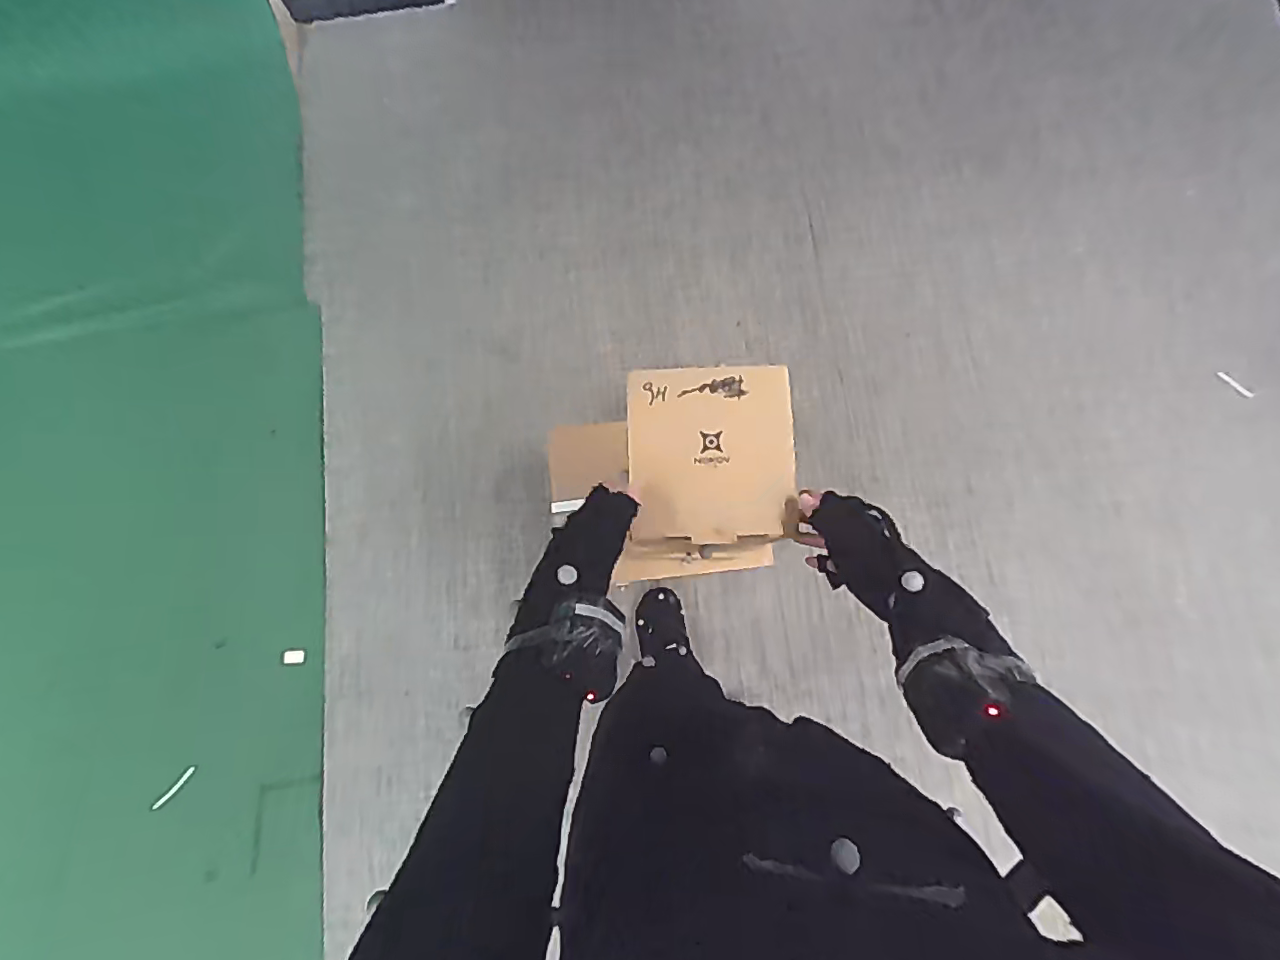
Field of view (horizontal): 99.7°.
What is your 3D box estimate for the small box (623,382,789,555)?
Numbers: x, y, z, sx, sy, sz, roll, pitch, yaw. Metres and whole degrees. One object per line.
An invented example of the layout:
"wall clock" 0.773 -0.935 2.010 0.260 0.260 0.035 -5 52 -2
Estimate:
"small box" 0.067 -0.004 0.619 0.168 0.176 0.179 -1 82 0
